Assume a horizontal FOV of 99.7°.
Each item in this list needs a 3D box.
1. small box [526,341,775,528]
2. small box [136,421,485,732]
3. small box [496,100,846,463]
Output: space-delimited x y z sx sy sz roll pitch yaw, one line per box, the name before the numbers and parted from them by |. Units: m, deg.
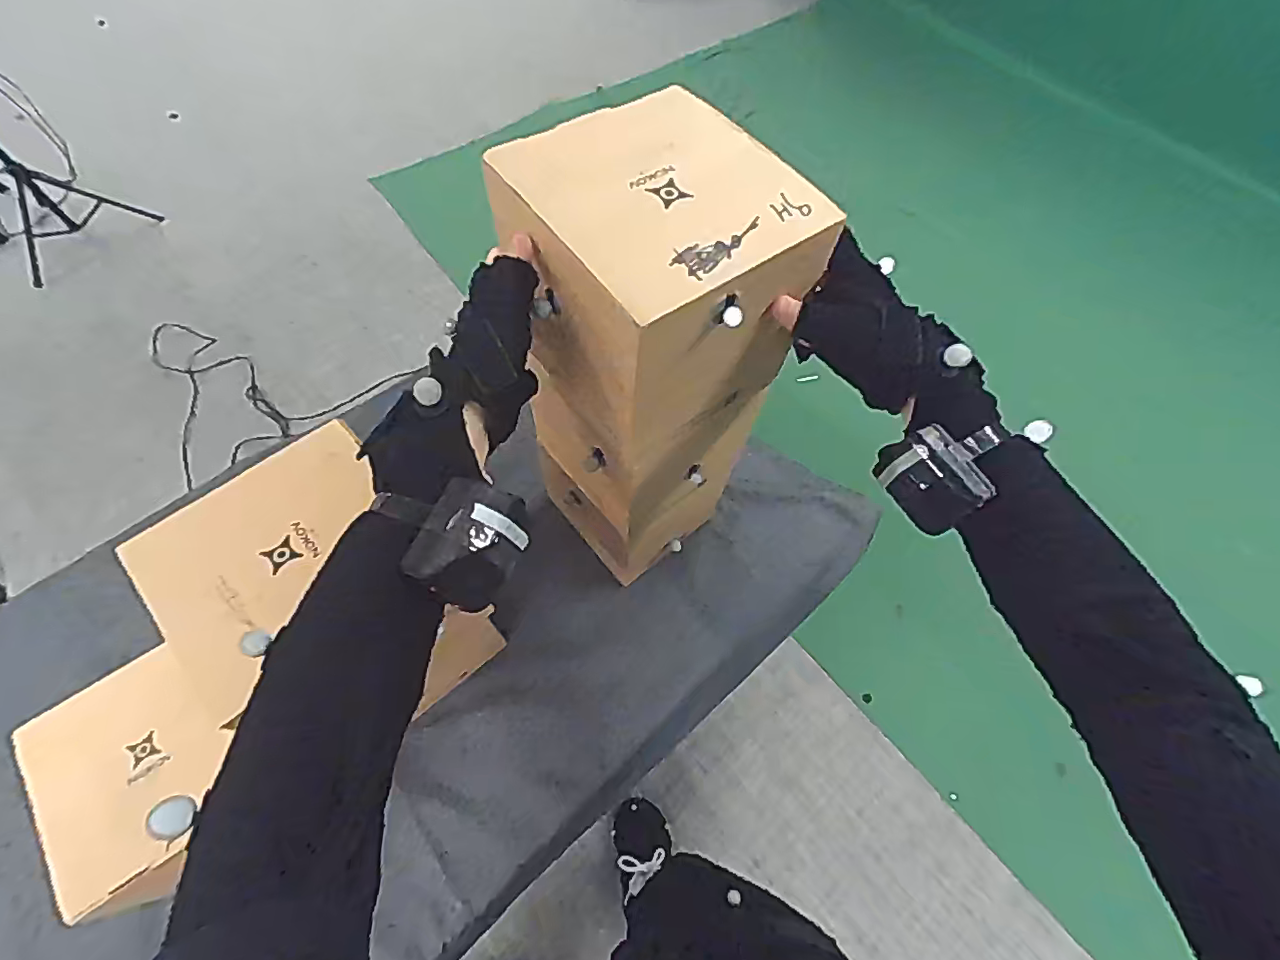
small box | 0.006 -0.070 0.566 0.168 0.176 0.179 -34 69 -19
small box | -0.254 0.089 0.467 0.179 0.176 0.168 -39 70 -20
small box | 0.014 -0.146 0.420 0.168 0.176 0.179 -32 68 -18
